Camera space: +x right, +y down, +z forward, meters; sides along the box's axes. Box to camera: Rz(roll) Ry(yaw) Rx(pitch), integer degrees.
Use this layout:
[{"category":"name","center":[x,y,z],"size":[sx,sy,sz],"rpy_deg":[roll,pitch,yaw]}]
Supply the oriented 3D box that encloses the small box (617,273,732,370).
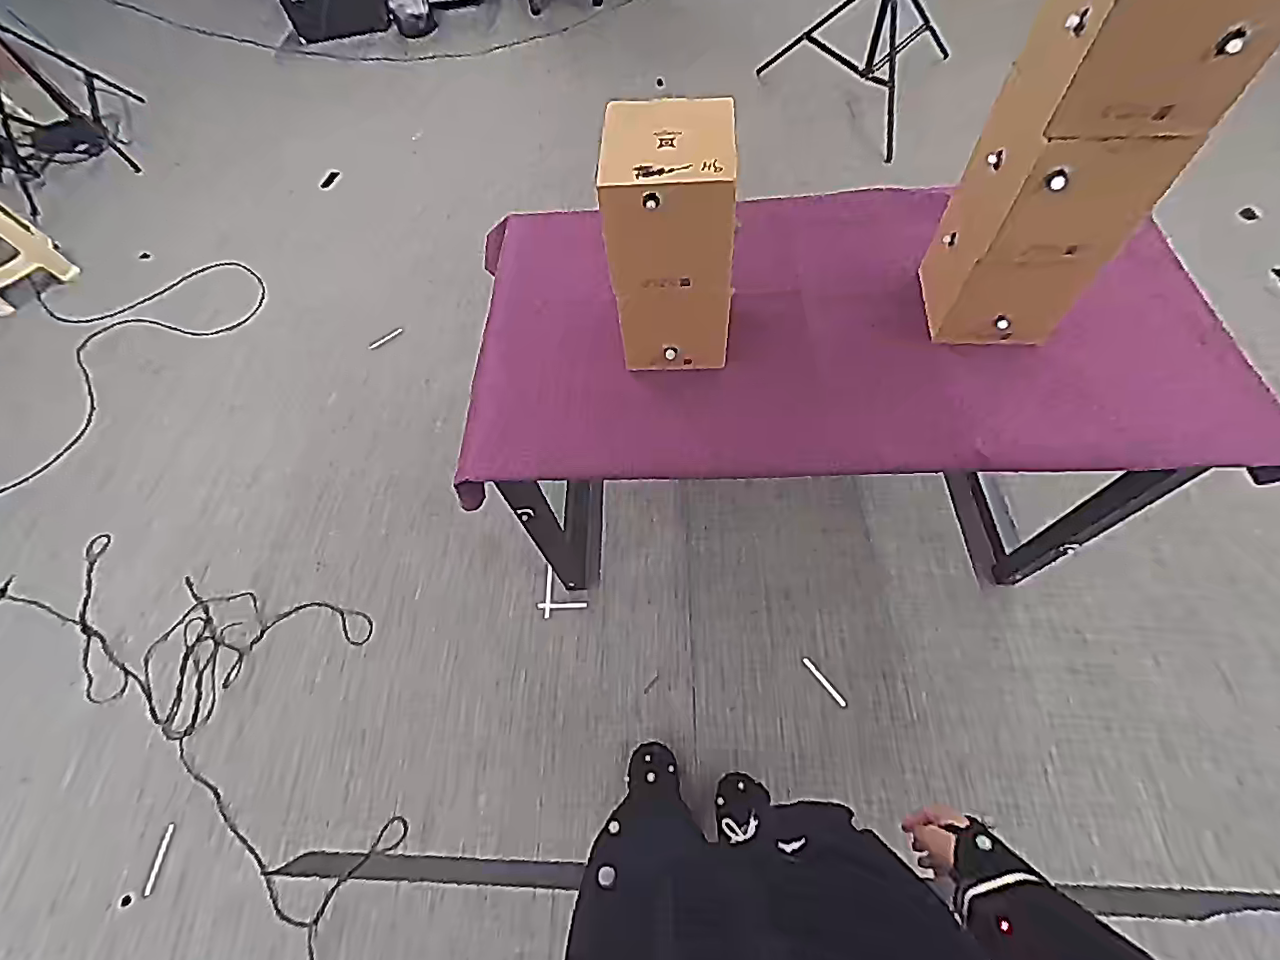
[{"category":"small box","center":[0.058,-0.299,0.872],"size":[0.168,0.176,0.179],"rpy_deg":[0,63,5]}]

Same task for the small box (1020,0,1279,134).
[{"category":"small box","center":[0.531,-0.483,0.553],"size":[0.168,0.176,0.179],"rpy_deg":[5,61,7]}]

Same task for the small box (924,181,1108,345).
[{"category":"small box","center":[0.563,-0.335,0.842],"size":[0.168,0.176,0.179],"rpy_deg":[3,62,8]}]

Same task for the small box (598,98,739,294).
[{"category":"small box","center":[0.043,-0.376,0.728],"size":[0.168,0.176,0.179],"rpy_deg":[1,62,6]}]
